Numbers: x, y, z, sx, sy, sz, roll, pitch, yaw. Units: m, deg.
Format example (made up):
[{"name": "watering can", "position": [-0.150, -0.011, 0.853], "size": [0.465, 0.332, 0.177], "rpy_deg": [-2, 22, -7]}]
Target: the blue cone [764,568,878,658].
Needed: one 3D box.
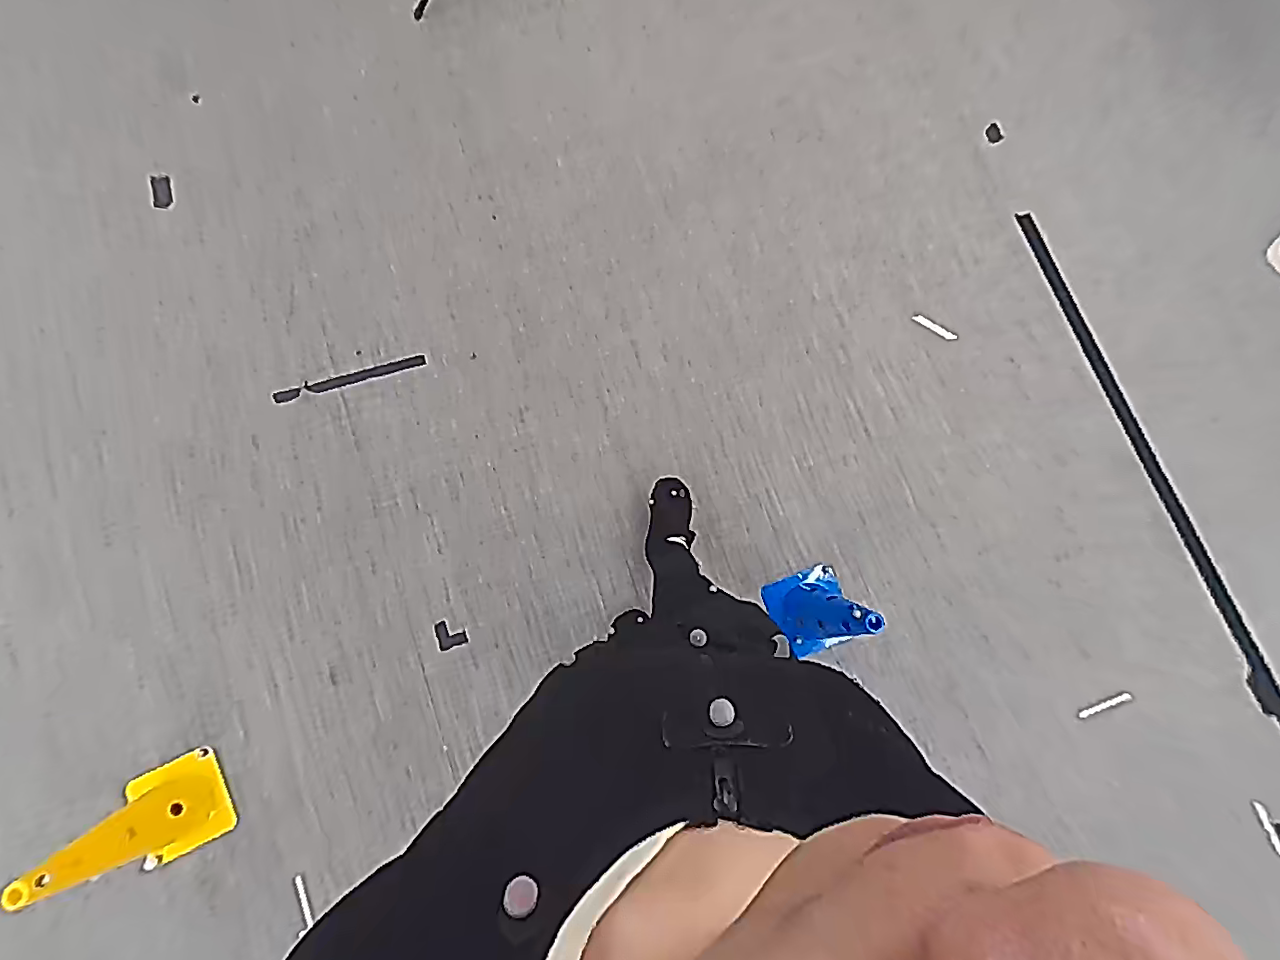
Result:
[{"name": "blue cone", "position": [0.434, 0.309, 1.211], "size": [0.193, 0.380, 0.192], "rpy_deg": [-18, 80, -6]}]
